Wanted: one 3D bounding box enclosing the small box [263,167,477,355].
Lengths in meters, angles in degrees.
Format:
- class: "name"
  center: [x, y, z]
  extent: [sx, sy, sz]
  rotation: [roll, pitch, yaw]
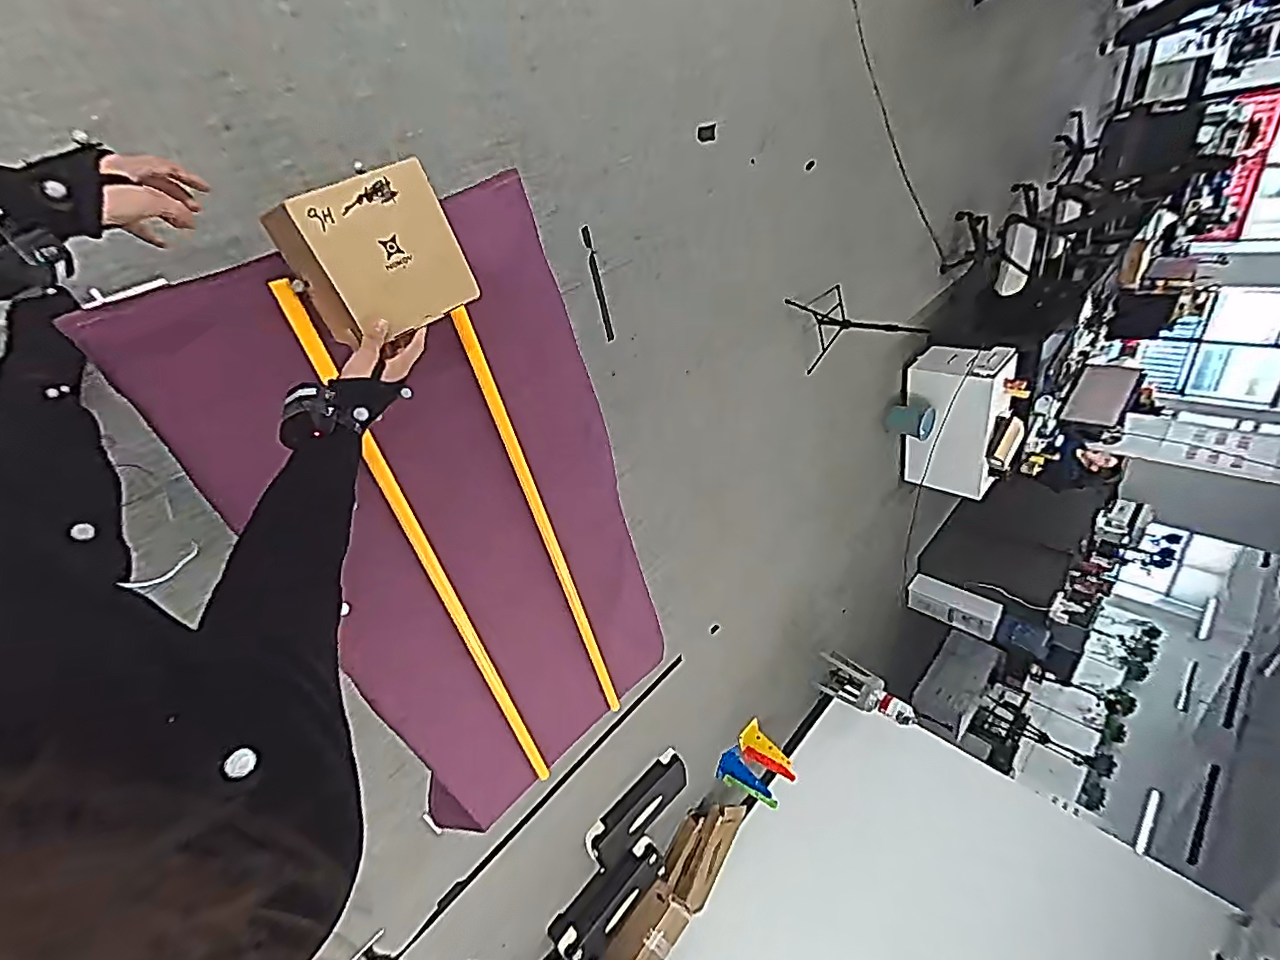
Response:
- class: "small box"
  center: [-0.354, -0.288, 0.715]
  extent: [0.168, 0.176, 0.179]
  rotation: [-39, 129, -27]
